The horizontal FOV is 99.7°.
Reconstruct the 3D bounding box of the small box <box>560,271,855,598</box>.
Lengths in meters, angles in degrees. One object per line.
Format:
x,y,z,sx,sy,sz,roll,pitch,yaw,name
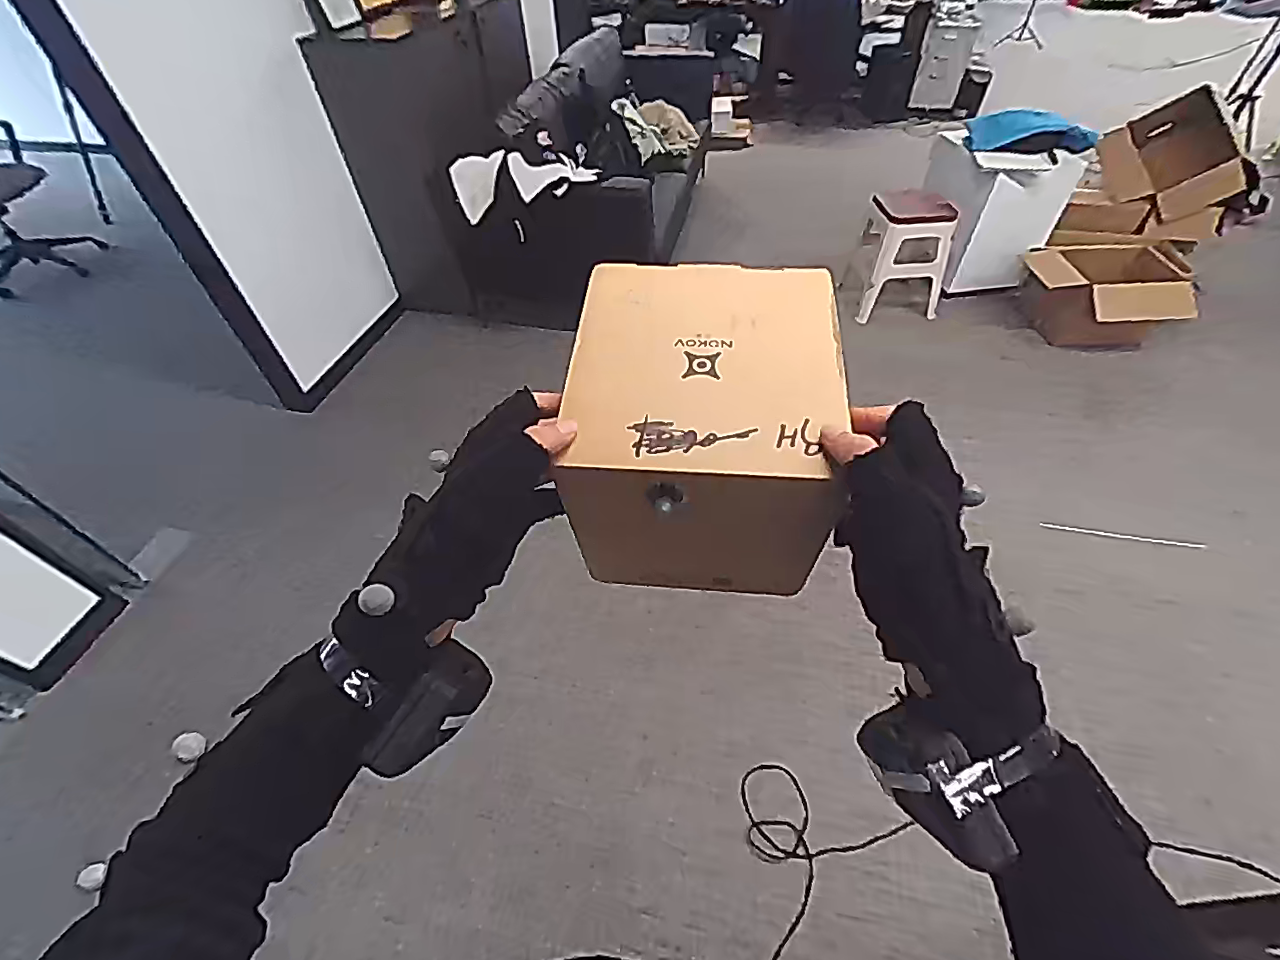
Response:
0.049,-0.031,0.408,0.168,0.176,0.179,4,57,7,small box
